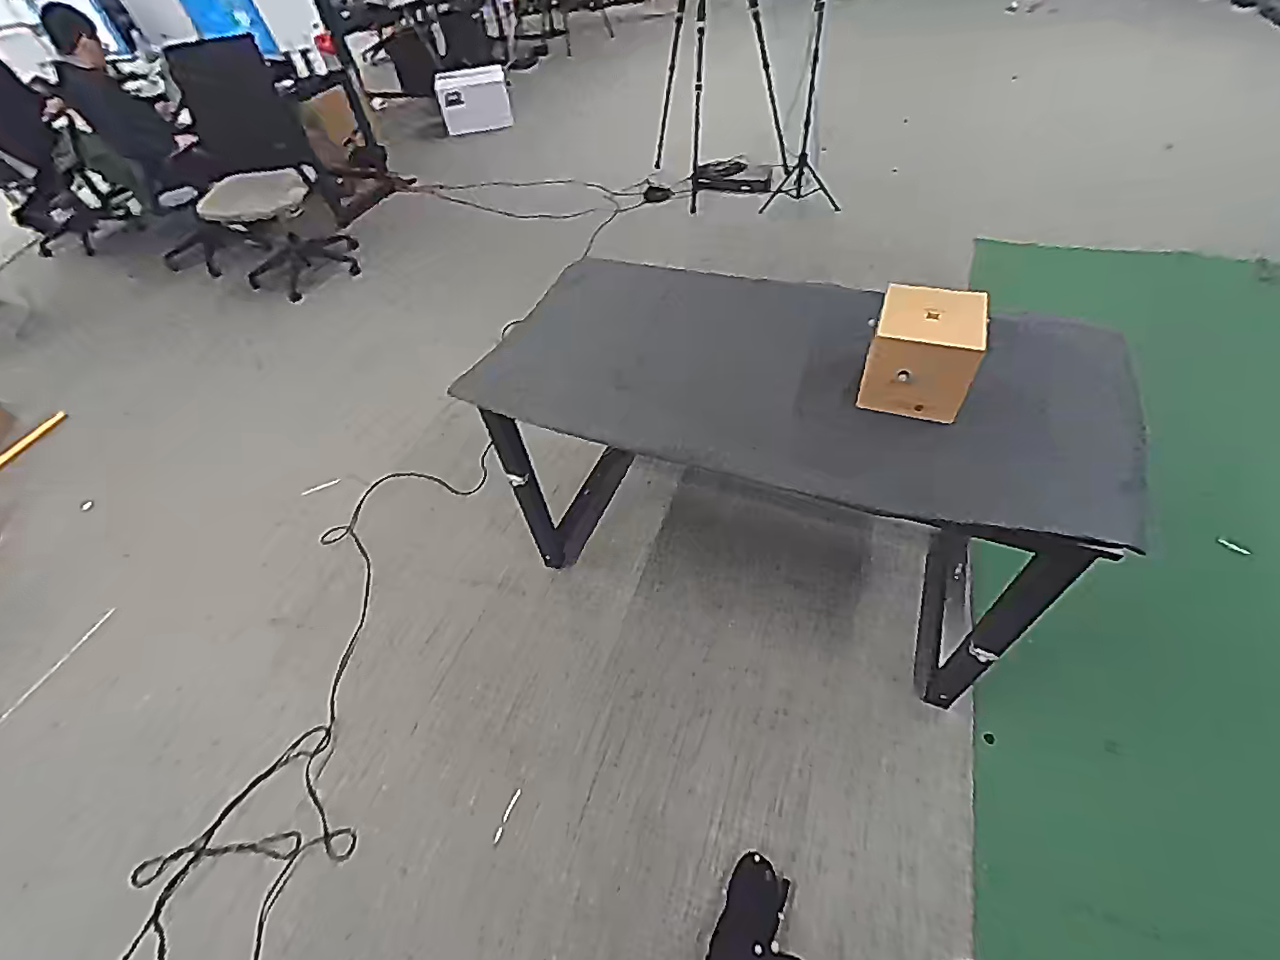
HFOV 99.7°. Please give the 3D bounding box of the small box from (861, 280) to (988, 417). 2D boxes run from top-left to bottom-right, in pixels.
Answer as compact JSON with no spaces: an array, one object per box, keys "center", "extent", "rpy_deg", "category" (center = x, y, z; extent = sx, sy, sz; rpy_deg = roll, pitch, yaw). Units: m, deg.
[{"center":[0.512,-0.239,0.987],"extent":[0.168,0.176,0.179],"rpy_deg":[14,52,19],"category":"small box"}]
